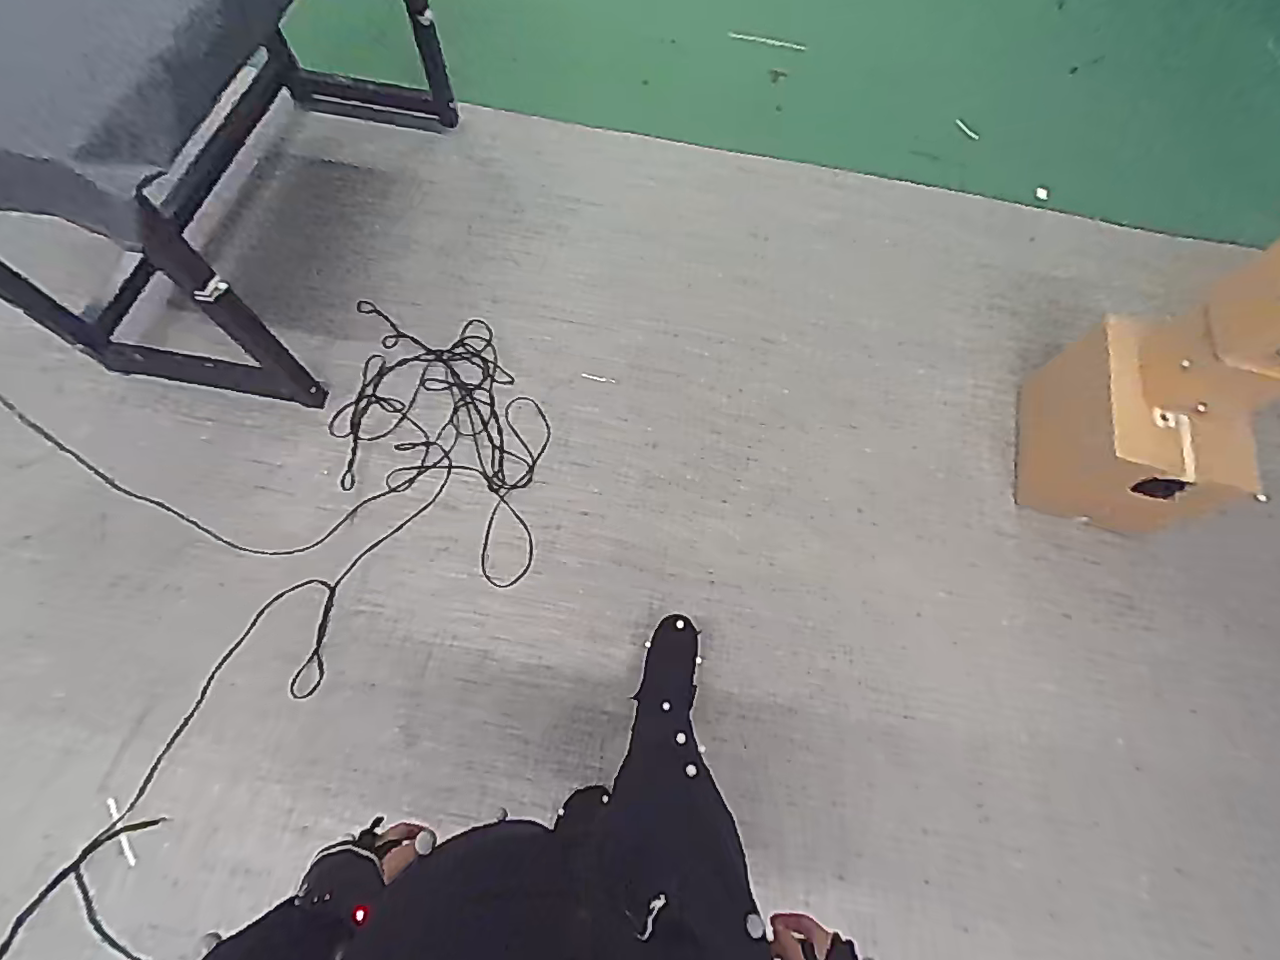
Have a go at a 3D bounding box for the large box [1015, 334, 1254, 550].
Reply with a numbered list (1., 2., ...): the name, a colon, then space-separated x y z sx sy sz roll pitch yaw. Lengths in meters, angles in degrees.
1. large box: 1.198 -0.085 1.362 0.320 0.320 0.408 16 68 4
